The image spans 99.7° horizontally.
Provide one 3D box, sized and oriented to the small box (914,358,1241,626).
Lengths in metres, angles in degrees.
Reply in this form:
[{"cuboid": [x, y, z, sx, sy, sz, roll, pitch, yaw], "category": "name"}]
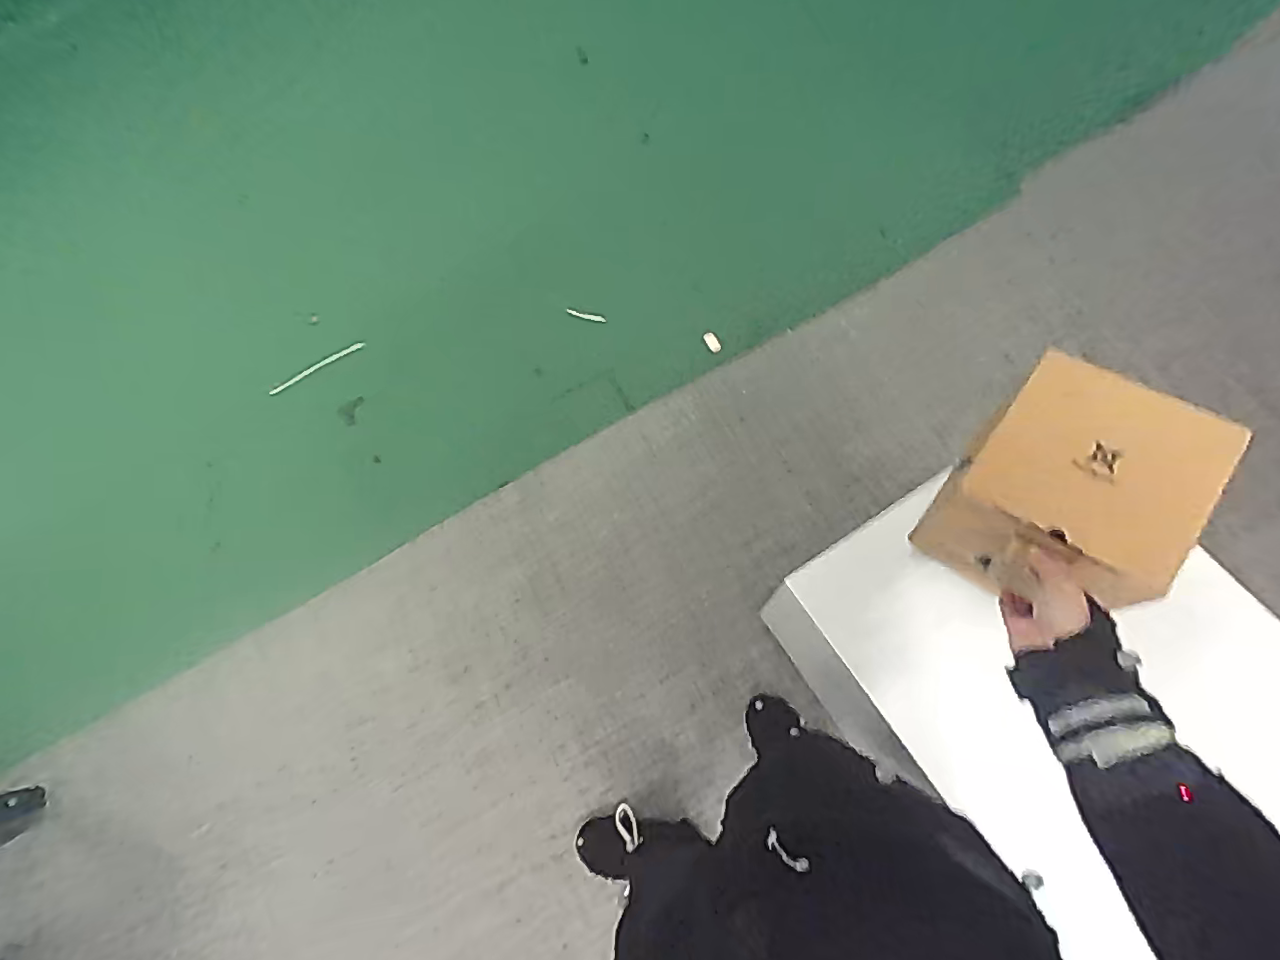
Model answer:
[{"cuboid": [0.405, 0.021, 0.536, 0.168, 0.176, 0.179, 33, 77, 21], "category": "small box"}]
